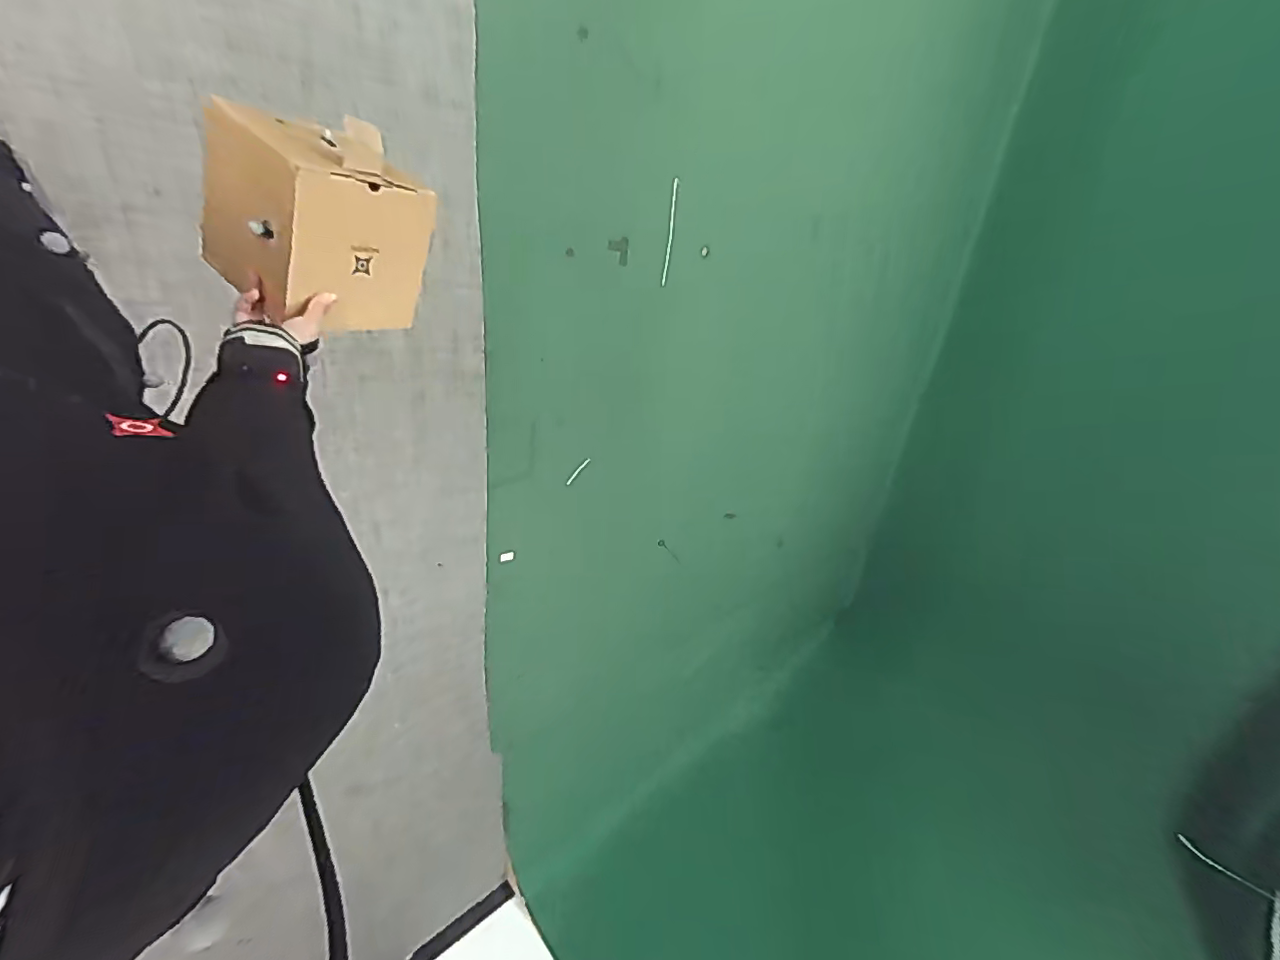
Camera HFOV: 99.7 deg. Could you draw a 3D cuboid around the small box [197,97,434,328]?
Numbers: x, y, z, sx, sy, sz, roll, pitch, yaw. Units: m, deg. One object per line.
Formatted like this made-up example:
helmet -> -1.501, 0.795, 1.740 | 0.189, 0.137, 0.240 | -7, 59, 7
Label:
small box -> -0.377, -0.297, 0.629 | 0.168, 0.176, 0.179 | -28, 150, -56
